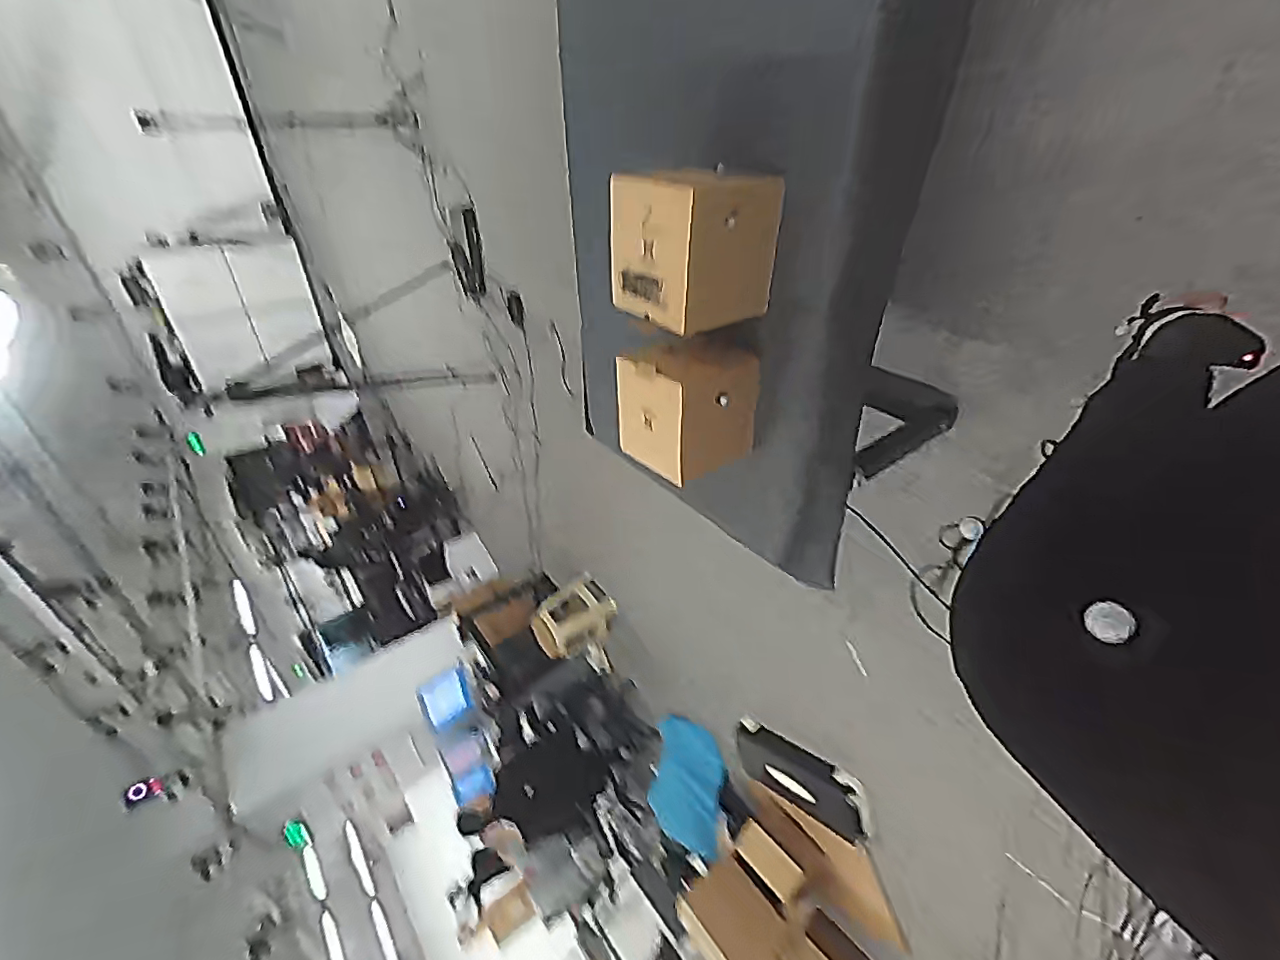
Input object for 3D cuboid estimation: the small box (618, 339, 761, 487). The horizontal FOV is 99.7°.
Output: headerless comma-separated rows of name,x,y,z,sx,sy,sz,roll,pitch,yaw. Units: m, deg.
small box,0.083,-0.121,0.899,0.168,0.176,0.179,33,137,44
